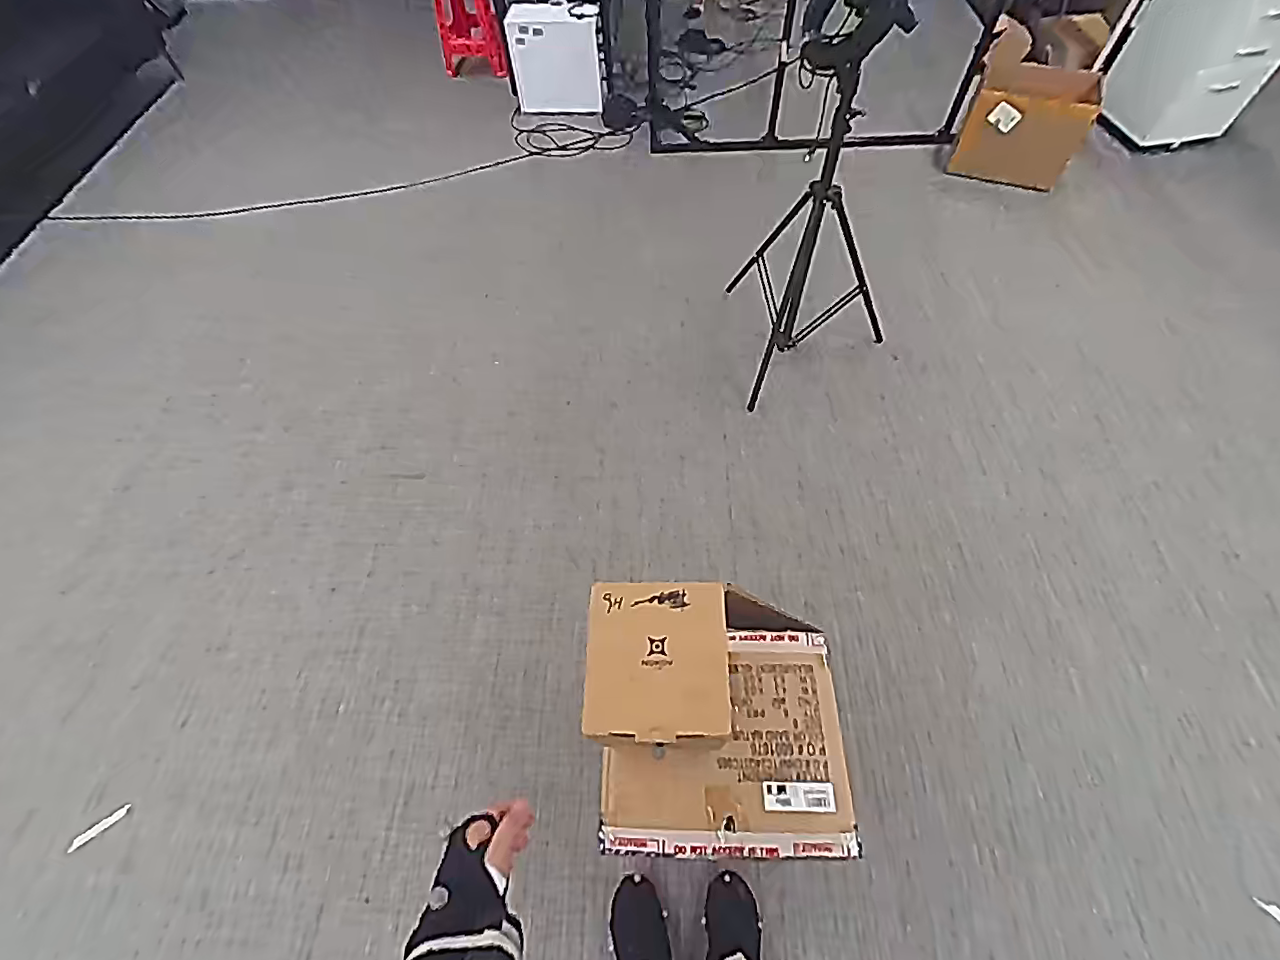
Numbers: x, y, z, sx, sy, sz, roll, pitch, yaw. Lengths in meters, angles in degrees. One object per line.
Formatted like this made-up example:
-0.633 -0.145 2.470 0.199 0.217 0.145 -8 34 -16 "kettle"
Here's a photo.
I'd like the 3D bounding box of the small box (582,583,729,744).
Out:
0.025 0.242 0.700 0.168 0.176 0.179 -1 61 4 "small box"
